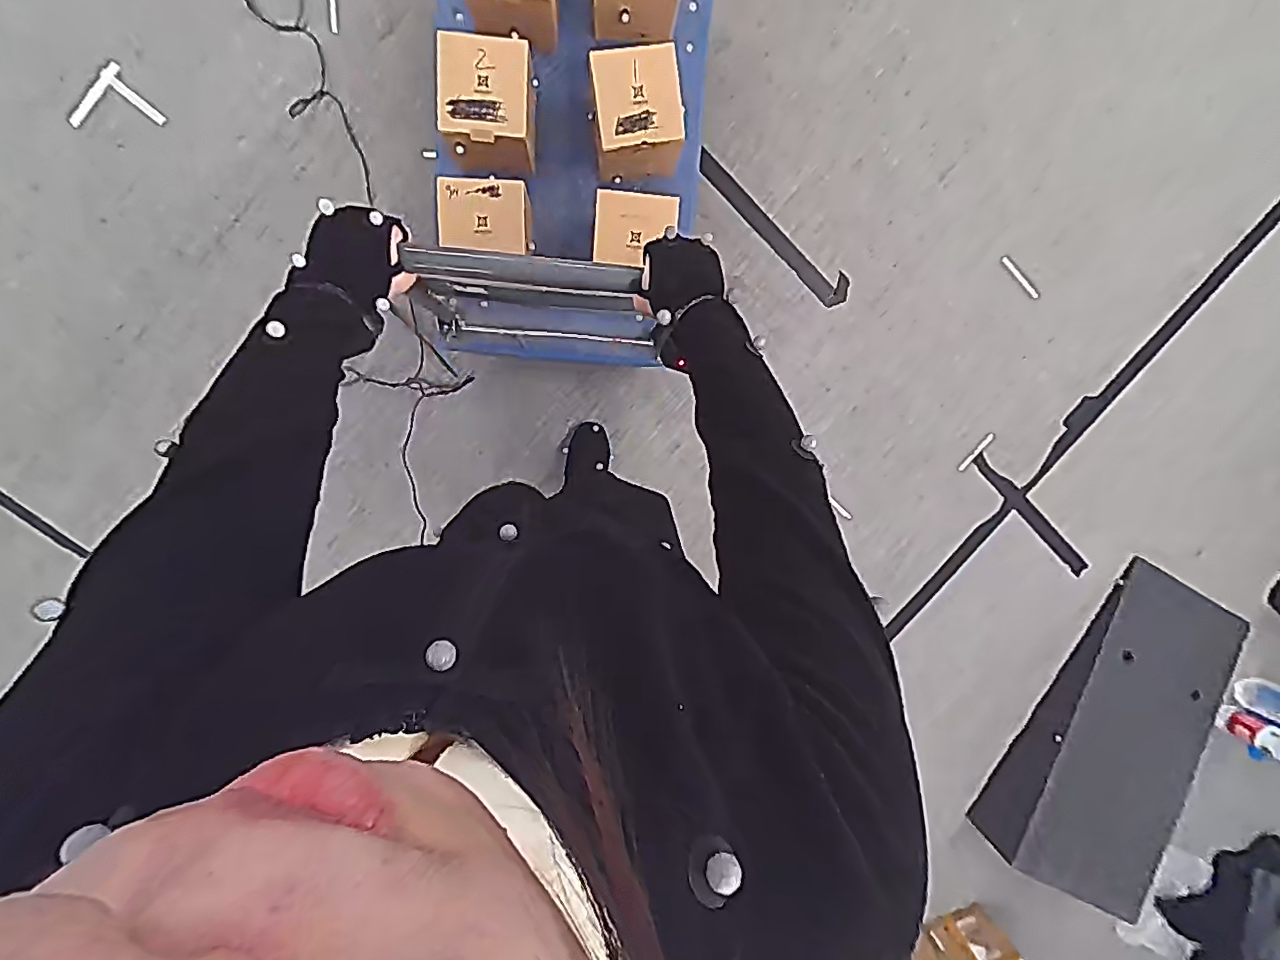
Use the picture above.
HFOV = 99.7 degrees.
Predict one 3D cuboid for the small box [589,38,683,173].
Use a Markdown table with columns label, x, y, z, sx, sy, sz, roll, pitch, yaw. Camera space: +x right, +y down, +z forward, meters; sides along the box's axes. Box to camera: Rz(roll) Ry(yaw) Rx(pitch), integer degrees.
| label | x | y | z | sx | sy | sz | roll | pitch | yaw |
| --- | --- | --- | --- | --- | --- | --- | --- | --- | --- |
| small box | -0.011 | -0.755 | 1.112 | 0.168 | 0.176 | 0.179 | -9 | 98 | -4 |

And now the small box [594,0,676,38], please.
| label | x | y | z | sx | sy | sz | roll | pitch | yaw |
| --- | --- | --- | --- | --- | --- | --- | --- | --- | --- |
| small box | -0.008 | -1.025 | 1.072 | 0.168 | 0.176 | 0.179 | 0 | 99 | -5 |

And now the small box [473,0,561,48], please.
| label | x | y | z | sx | sy | sz | roll | pitch | yaw |
| --- | --- | --- | --- | --- | --- | --- | --- | --- | --- |
| small box | -0.242 | -1.001 | 1.054 | 0.168 | 0.176 | 0.179 | 5 | 99 | -6 |

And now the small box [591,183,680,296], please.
| label | x | y | z | sx | sy | sz | roll | pitch | yaw |
| --- | --- | --- | --- | --- | --- | --- | --- | --- | --- |
| small box | -0.015 | -0.500 | 1.151 | 0.168 | 0.176 | 0.179 | 4 | 98 | -6 |

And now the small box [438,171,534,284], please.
| label | x | y | z | sx | sy | sz | roll | pitch | yaw |
| --- | --- | --- | --- | --- | --- | --- | --- | --- | --- |
| small box | -0.312 | -0.512 | 1.121 | 0.168 | 0.176 | 0.179 | 0 | 99 | -6 |
